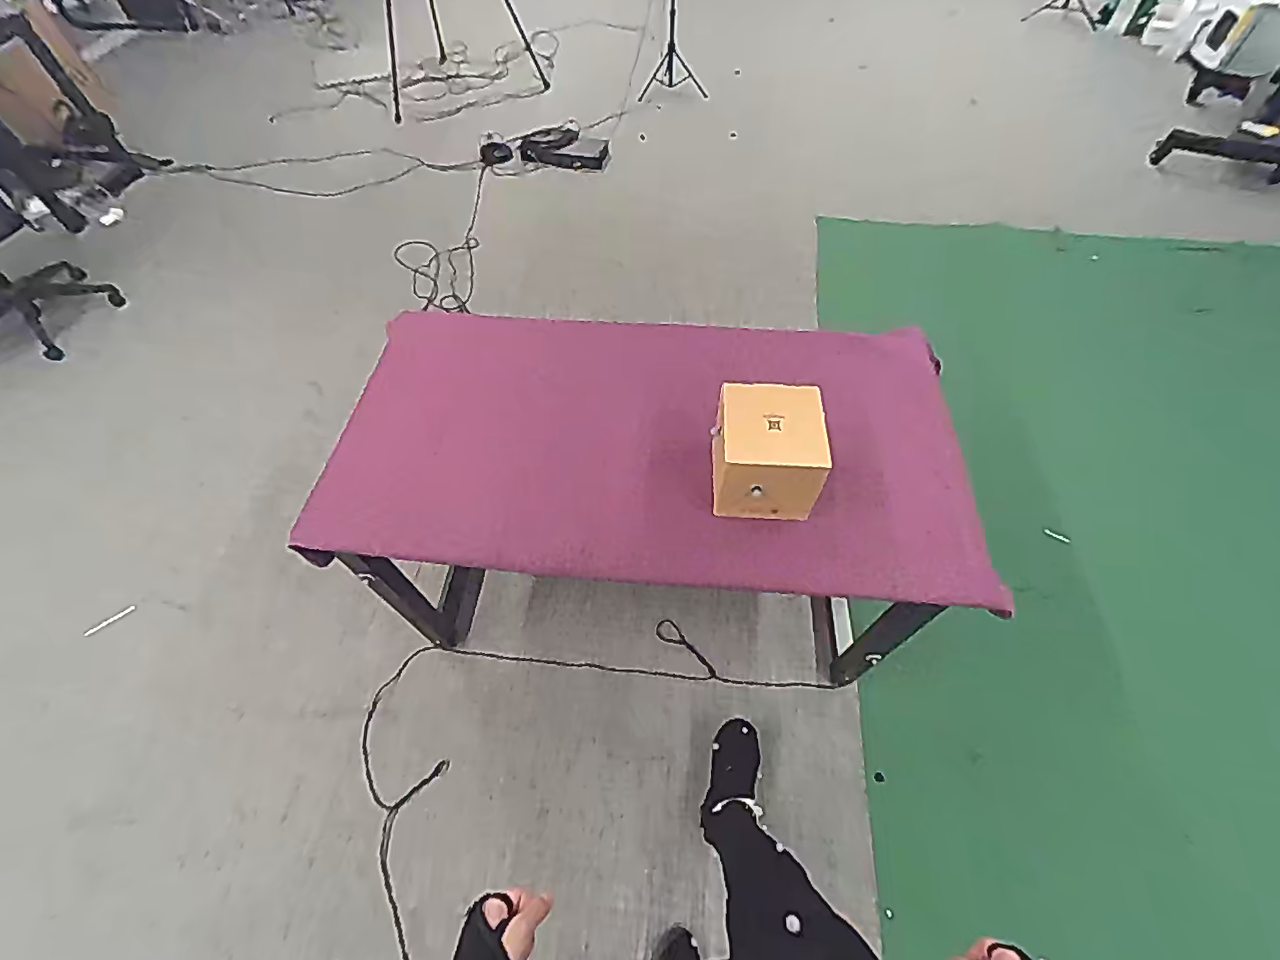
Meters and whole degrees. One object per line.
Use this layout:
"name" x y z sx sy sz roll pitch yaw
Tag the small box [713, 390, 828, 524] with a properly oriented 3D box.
"small box" 0.218 -0.036 0.945 0.168 0.176 0.179 2 54 4
